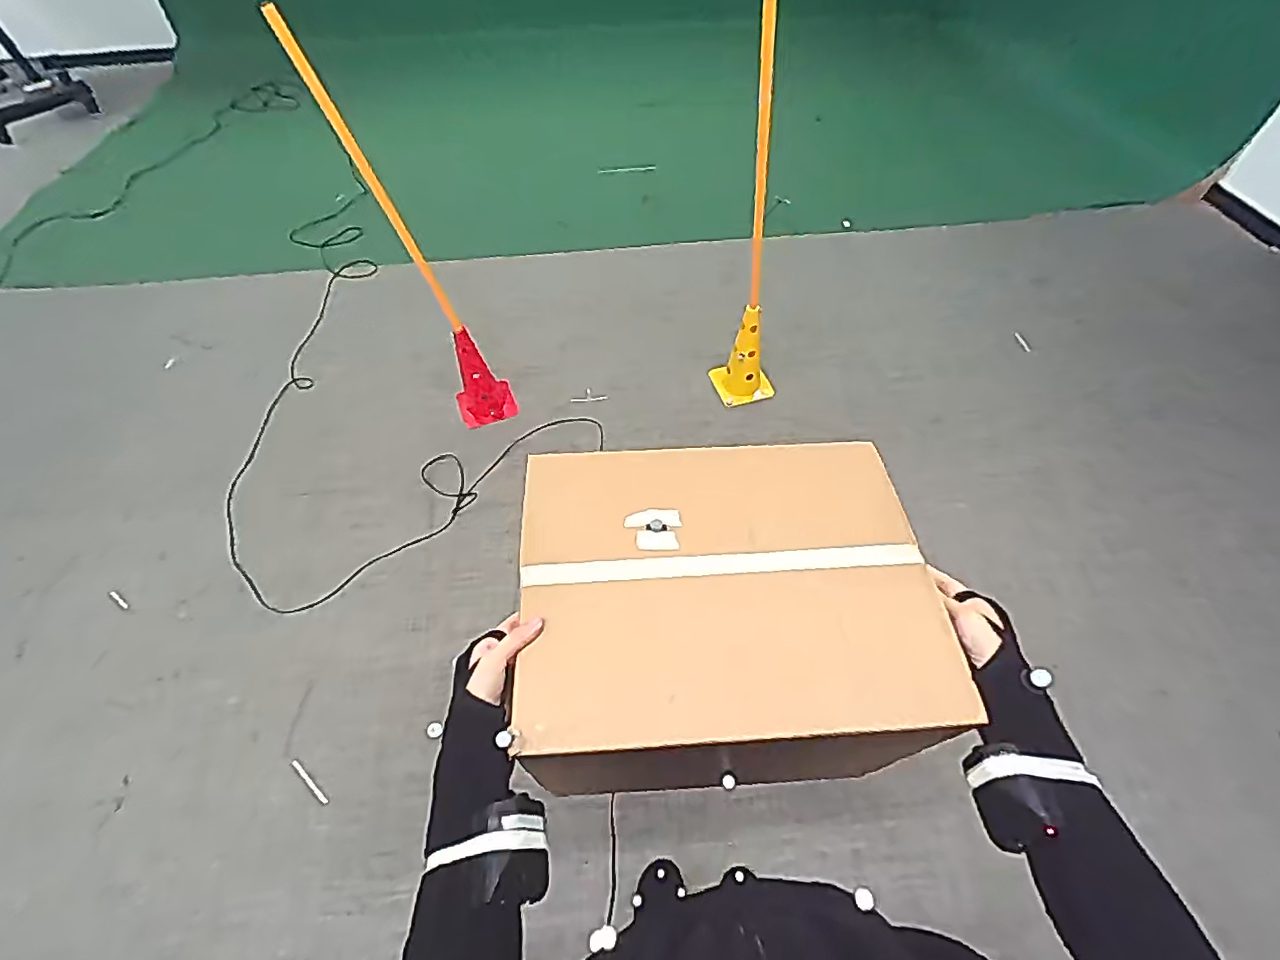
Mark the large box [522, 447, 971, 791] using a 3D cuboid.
[{"bbox_3d":[0.088,0.184,0.673,0.408,0.320,0.320,-3,54,-2],"label":"large box"}]
